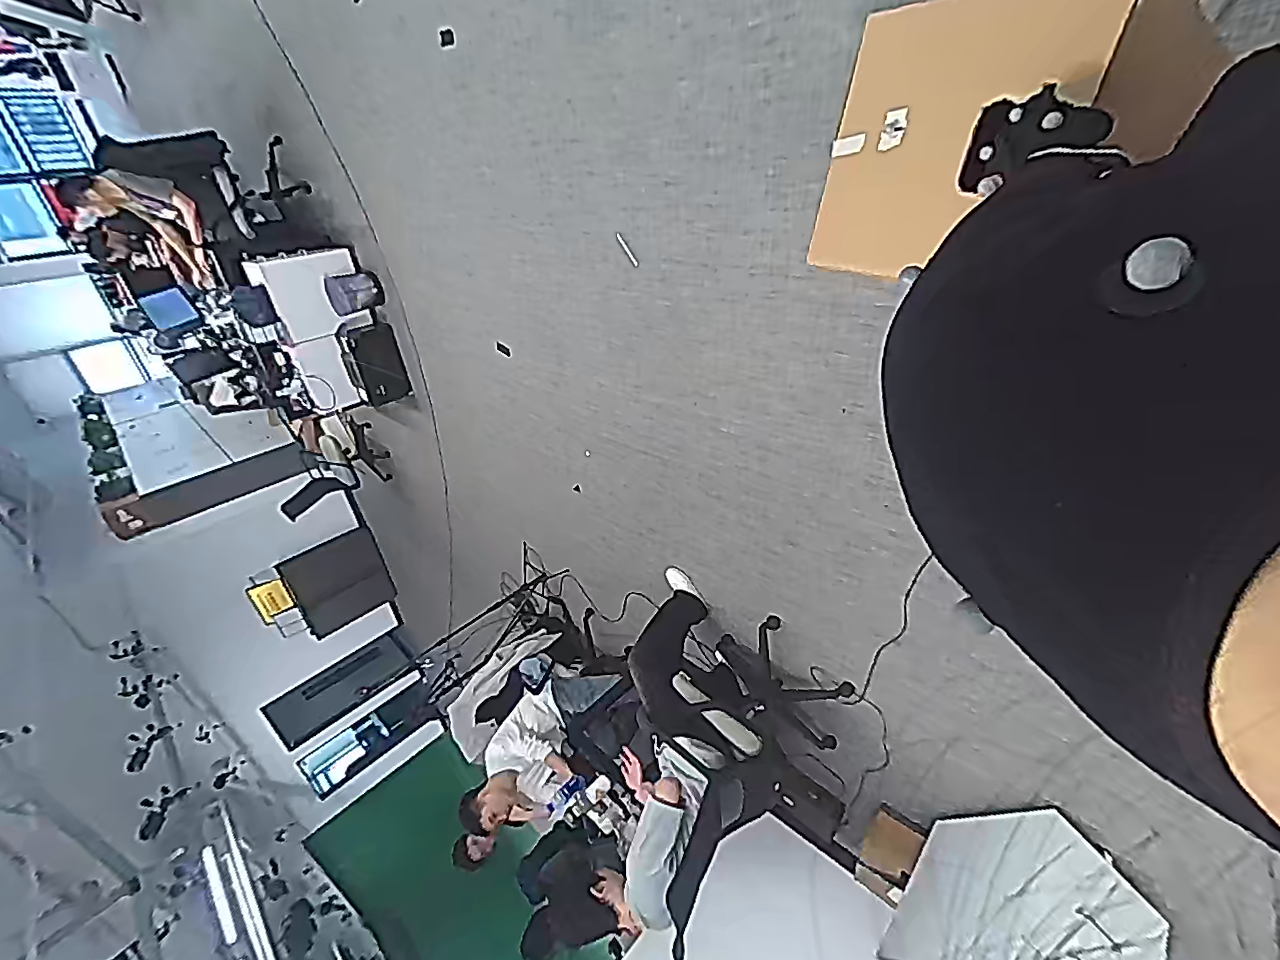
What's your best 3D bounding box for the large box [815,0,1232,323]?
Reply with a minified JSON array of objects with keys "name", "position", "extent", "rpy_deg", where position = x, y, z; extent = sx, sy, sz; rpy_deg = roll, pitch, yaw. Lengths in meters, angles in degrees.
[{"name":"large box","position":[0.532,-0.420,0.789],"extent":[0.320,0.408,0.320],"rpy_deg":[39,128,45]}]
